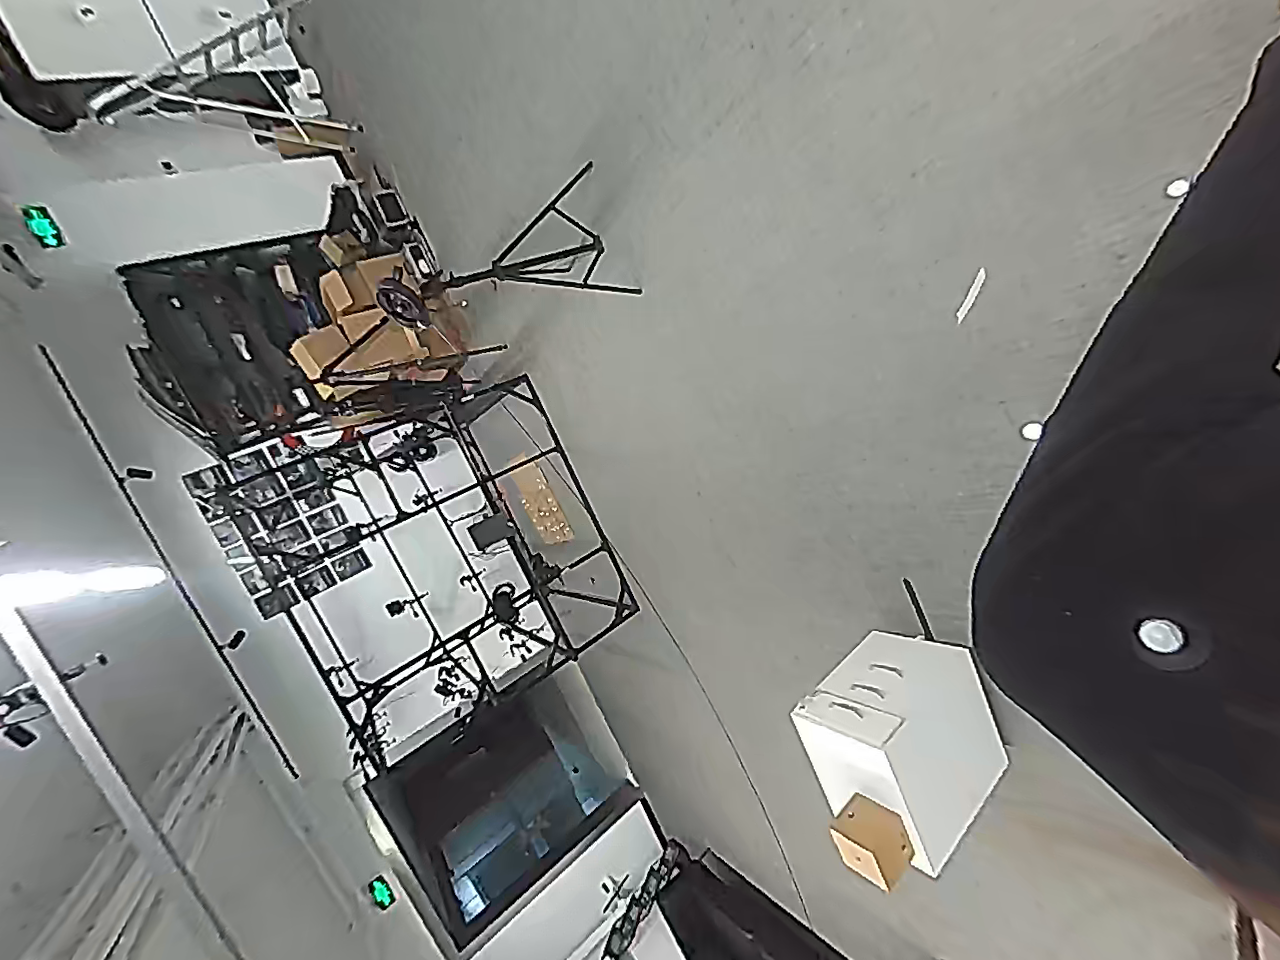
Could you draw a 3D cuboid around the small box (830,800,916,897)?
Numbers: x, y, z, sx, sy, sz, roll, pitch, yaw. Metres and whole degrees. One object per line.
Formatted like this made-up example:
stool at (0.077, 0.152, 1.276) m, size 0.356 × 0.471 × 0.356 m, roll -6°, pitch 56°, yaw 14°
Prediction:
small box at (0.771, 1.205, 1.788) m, size 0.179 × 0.176 × 0.168 m, roll -6°, pitch 110°, yaw 60°
